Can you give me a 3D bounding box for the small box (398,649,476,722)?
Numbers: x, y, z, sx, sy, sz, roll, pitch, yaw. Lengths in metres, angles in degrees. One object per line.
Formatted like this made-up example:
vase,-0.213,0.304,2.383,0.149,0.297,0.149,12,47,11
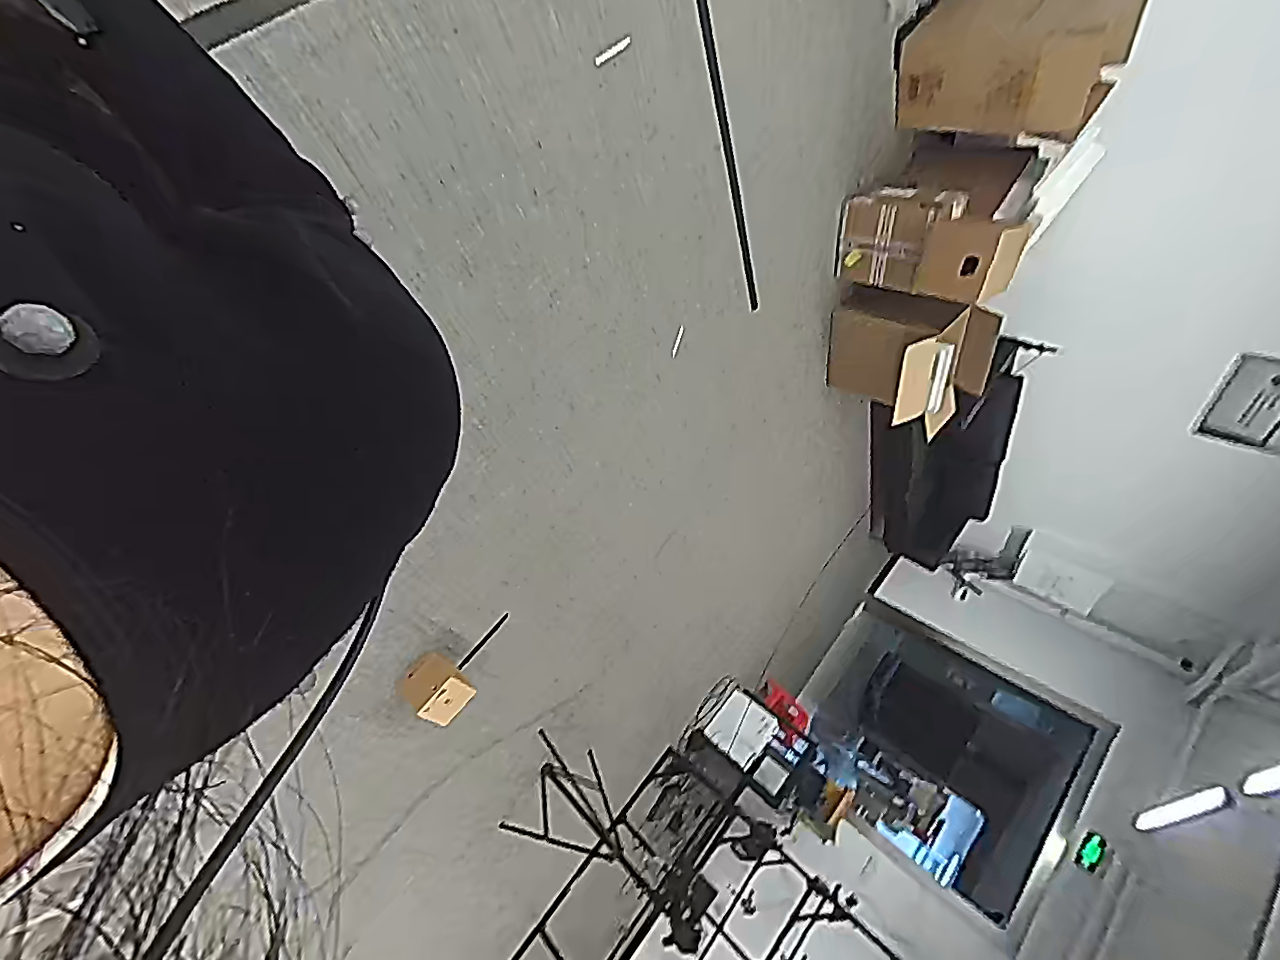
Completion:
small box,-0.751,0.757,1.999,0.168,0.176,0.179,-48,143,-16
